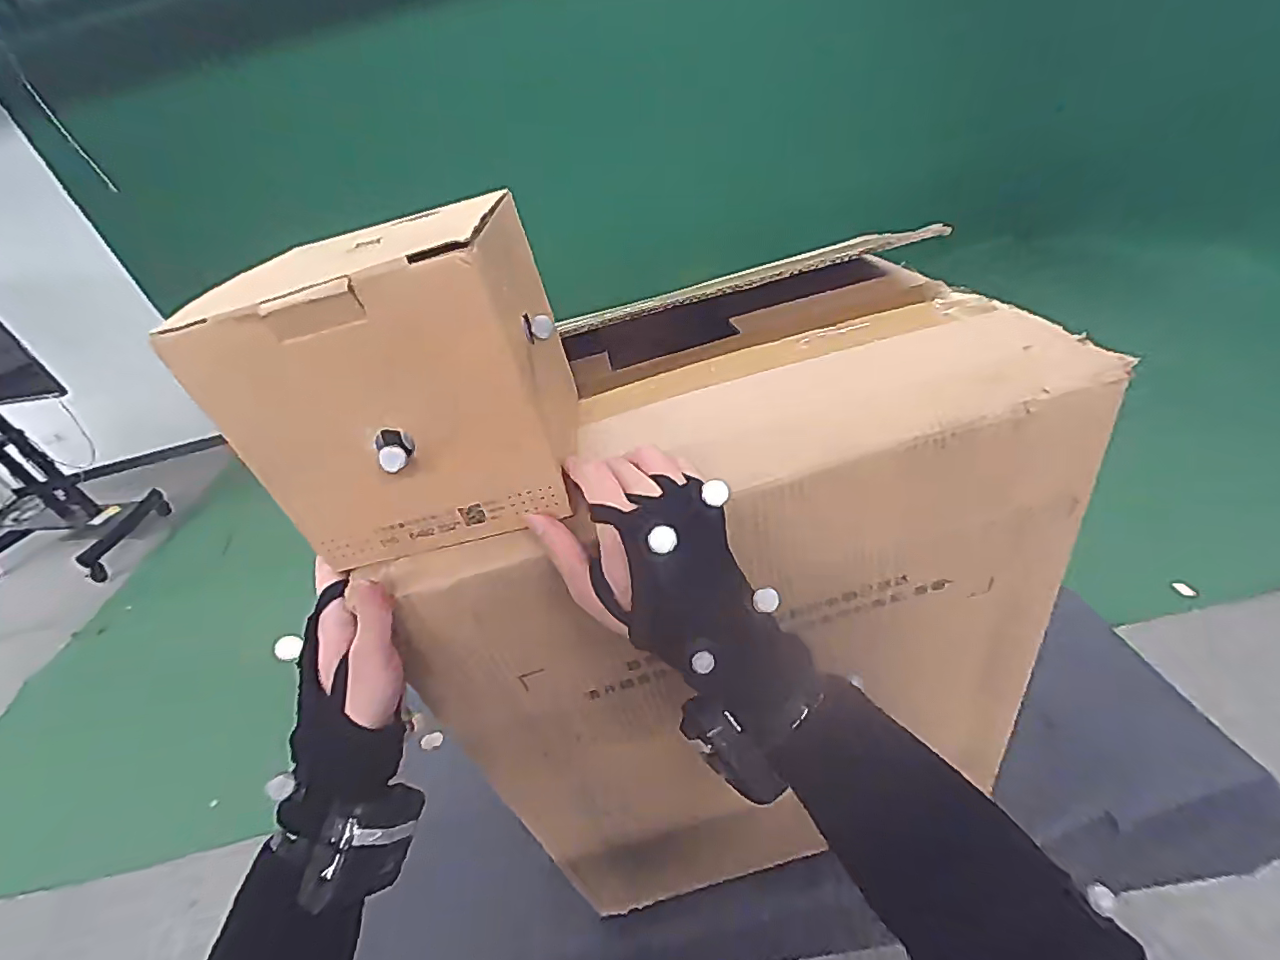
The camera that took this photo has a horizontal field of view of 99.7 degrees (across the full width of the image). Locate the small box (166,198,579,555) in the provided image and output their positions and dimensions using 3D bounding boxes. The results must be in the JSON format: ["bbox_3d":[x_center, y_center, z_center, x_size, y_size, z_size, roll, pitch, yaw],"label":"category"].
[{"bbox_3d":[-0.142,-0.067,0.371,0.168,0.176,0.179,-13,37,3],"label":"small box"}]
